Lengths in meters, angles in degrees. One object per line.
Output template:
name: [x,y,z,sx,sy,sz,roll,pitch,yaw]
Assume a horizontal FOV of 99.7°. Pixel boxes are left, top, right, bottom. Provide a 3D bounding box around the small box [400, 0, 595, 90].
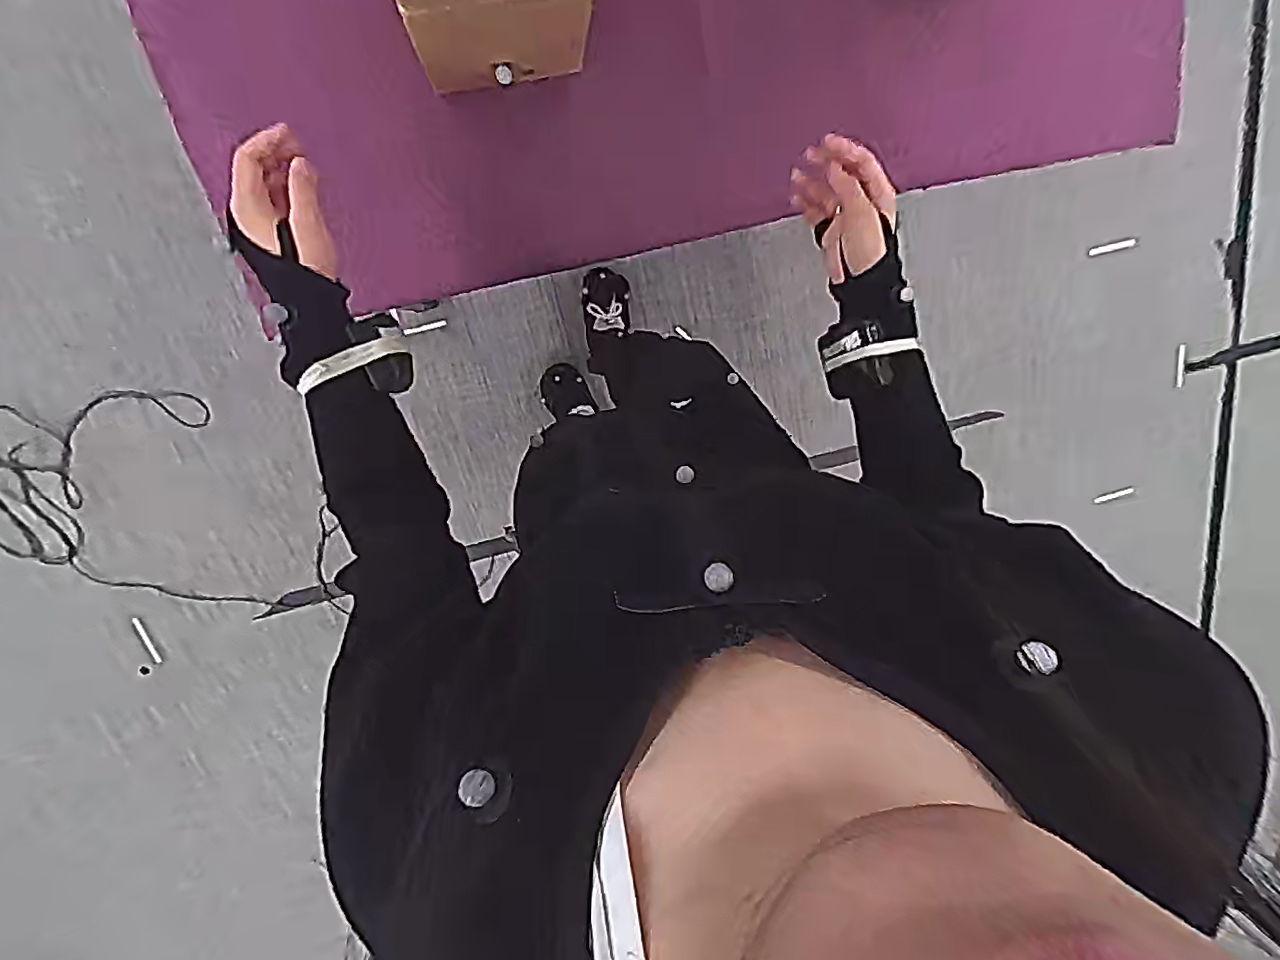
small box: [-0.144,-0.500,0.496,0.168,0.176,0.179,-13,109,-6]
